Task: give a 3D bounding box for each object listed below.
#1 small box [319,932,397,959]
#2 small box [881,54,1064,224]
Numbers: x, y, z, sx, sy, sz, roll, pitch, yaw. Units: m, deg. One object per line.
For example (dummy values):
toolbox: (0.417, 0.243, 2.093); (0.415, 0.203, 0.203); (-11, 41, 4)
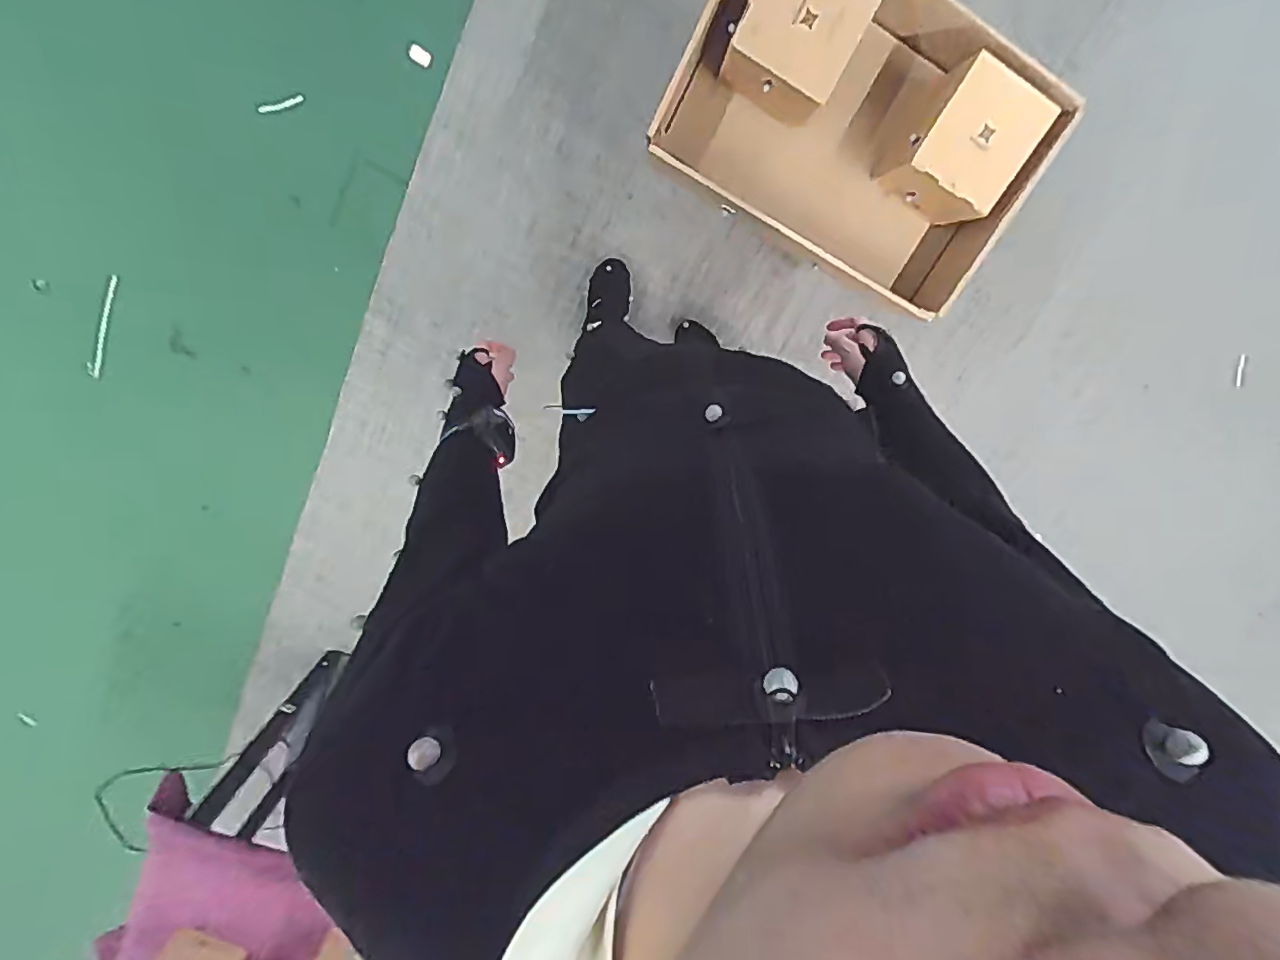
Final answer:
small box: (-0.684, 1.201, 1.246); (0.168, 0.176, 0.179); (17, 110, -6)
small box: (0.558, -0.572, 0.936); (0.168, 0.176, 0.179); (28, 109, -10)
